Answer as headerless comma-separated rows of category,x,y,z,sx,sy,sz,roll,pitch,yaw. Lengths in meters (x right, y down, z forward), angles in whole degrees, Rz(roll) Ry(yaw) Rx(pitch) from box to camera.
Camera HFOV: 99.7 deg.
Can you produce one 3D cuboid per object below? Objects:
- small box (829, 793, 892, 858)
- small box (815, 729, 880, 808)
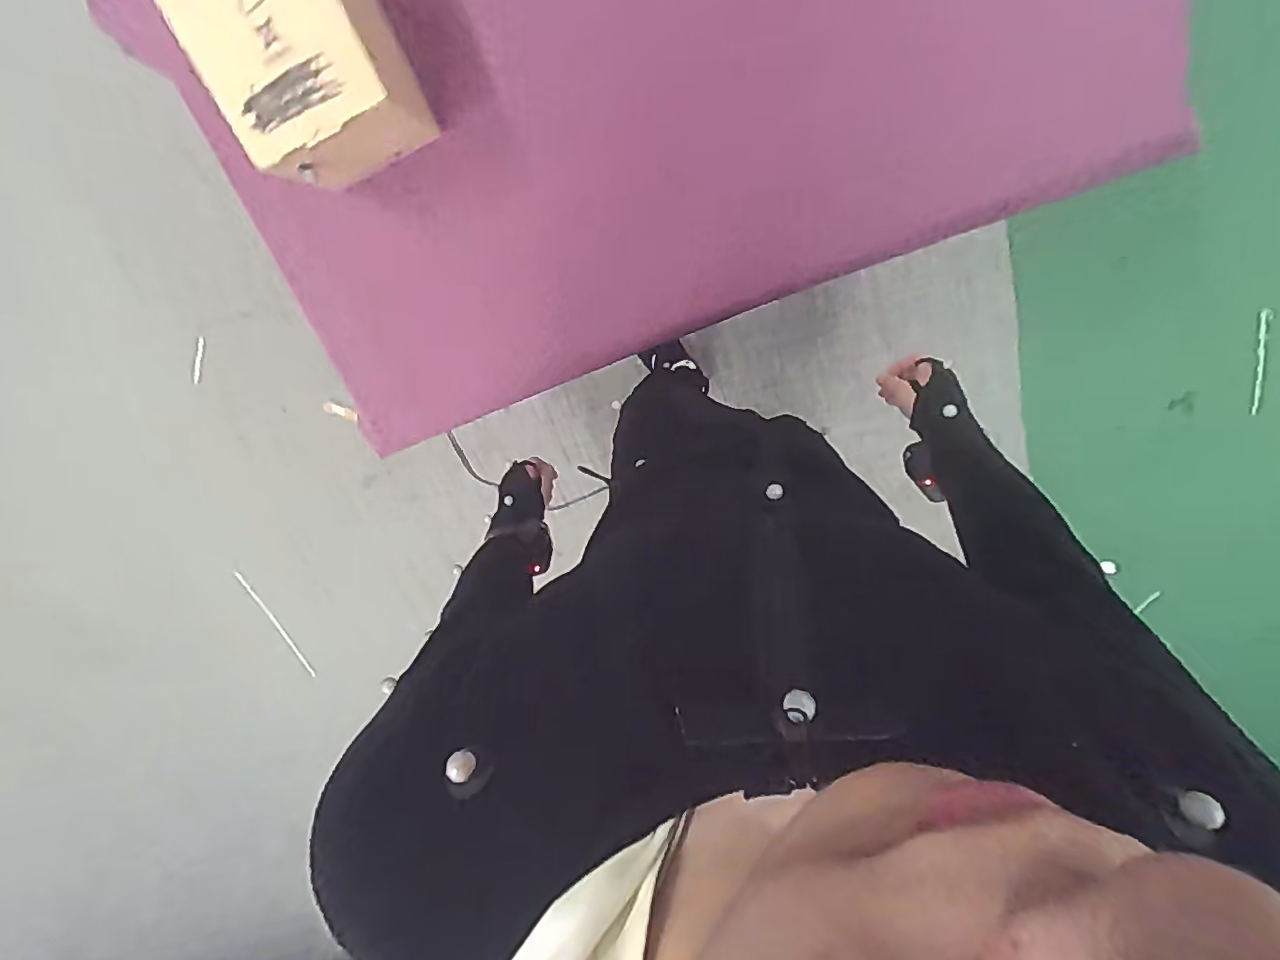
small box,0.846,1.304,2.084,0.168,0.176,0.179,-16,111,7
small box,0.761,1.058,1.988,0.168,0.176,0.179,-17,110,7
